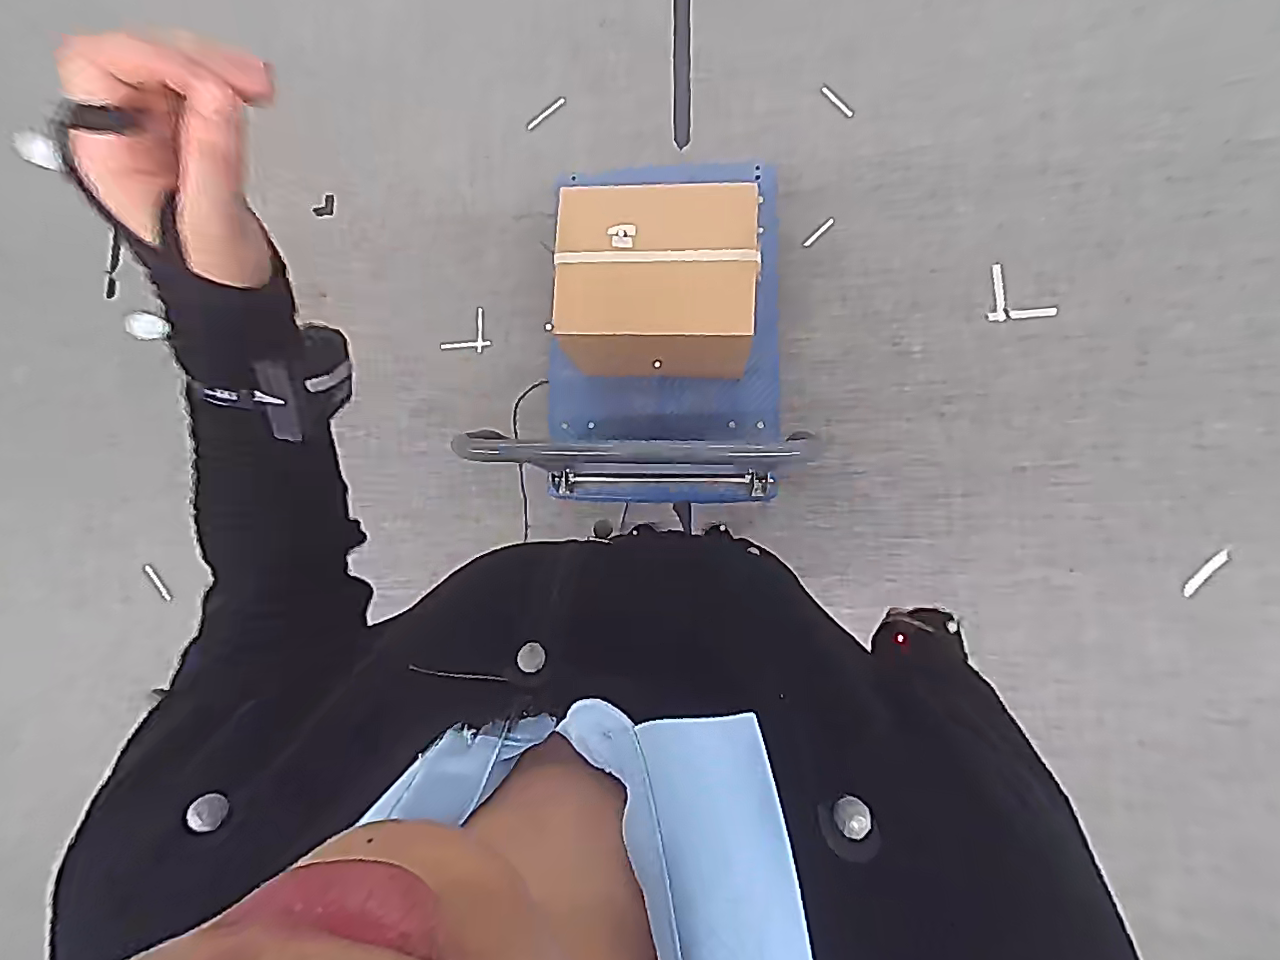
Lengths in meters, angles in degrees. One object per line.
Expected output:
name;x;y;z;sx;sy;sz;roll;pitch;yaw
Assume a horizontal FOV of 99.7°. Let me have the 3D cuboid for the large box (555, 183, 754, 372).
large box;0.046;-0.435;1.239;0.408;0.320;0.320;2;85;7
